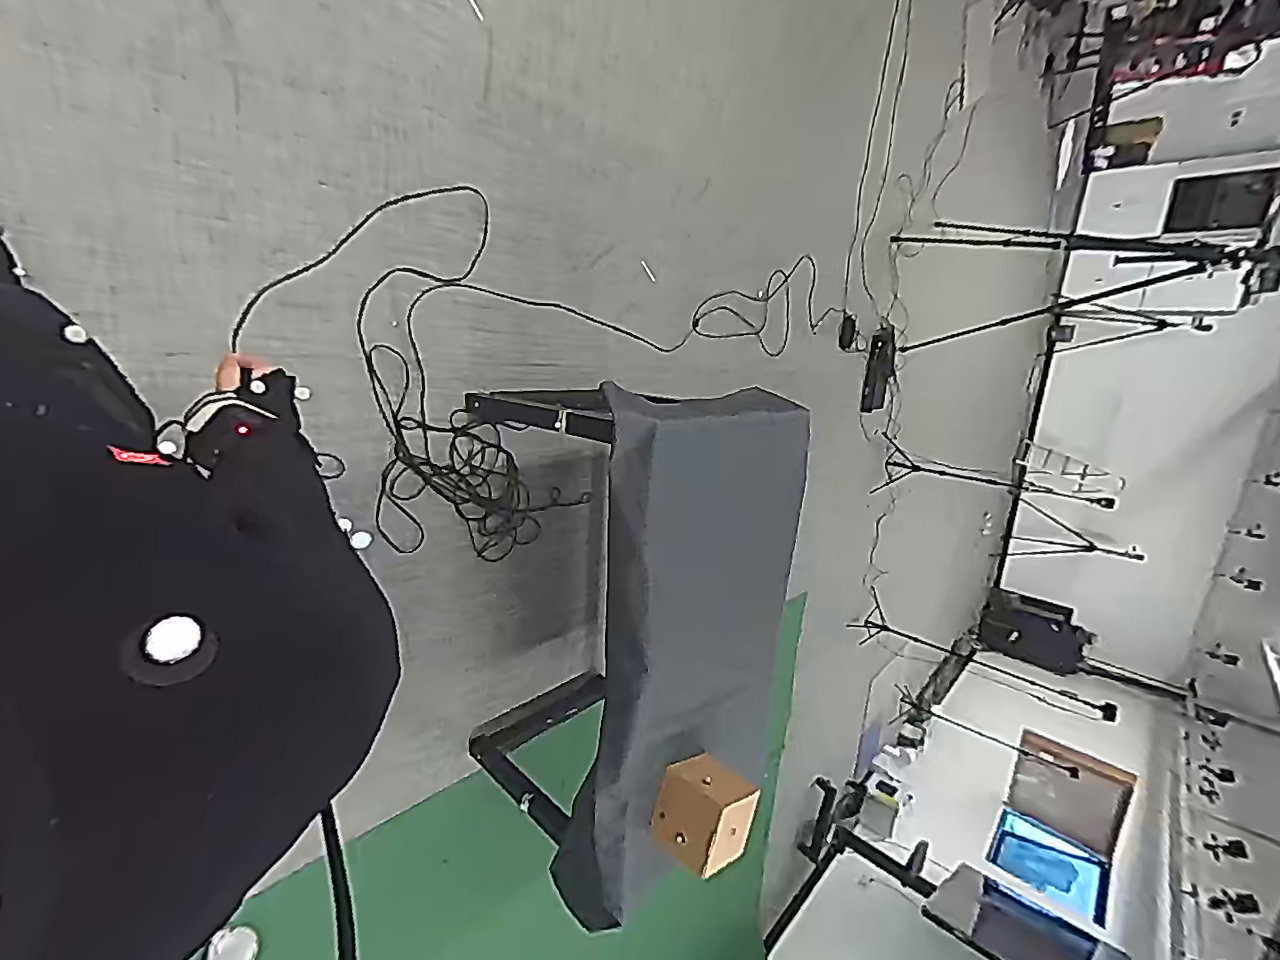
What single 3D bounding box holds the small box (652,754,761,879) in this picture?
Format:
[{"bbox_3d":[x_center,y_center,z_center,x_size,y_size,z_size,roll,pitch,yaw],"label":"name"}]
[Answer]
[{"bbox_3d":[0.154,0.783,1.280,0.179,0.176,0.168,16,90,-50],"label":"small box"}]
